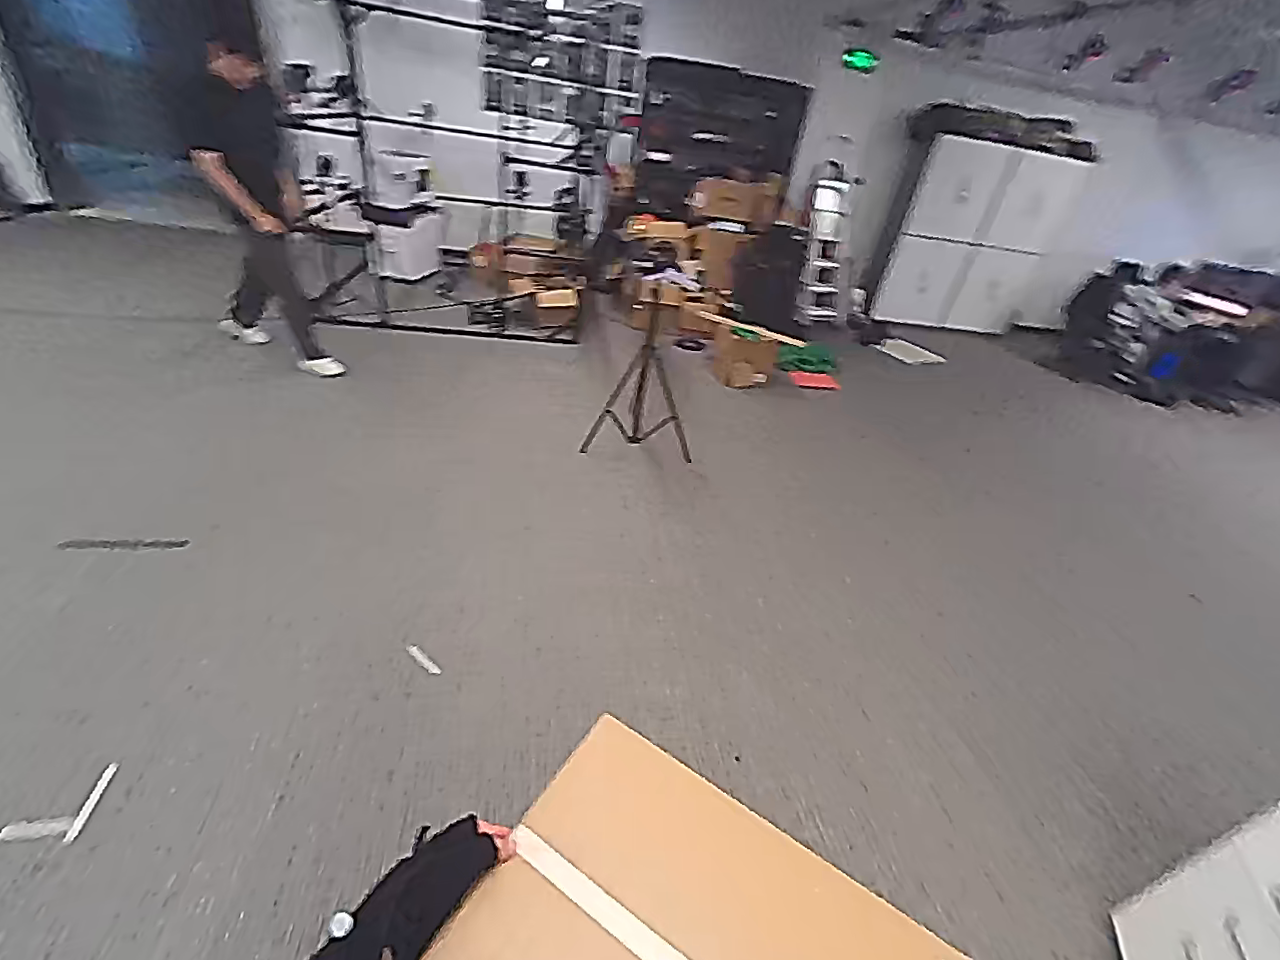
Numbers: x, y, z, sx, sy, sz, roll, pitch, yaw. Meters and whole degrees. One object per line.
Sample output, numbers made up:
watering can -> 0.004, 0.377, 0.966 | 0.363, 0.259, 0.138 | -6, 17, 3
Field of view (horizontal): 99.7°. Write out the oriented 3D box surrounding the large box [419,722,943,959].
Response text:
large box -> 0.016, 0.542, 0.537 | 0.408, 0.320, 0.320 | 25, 37, 19
